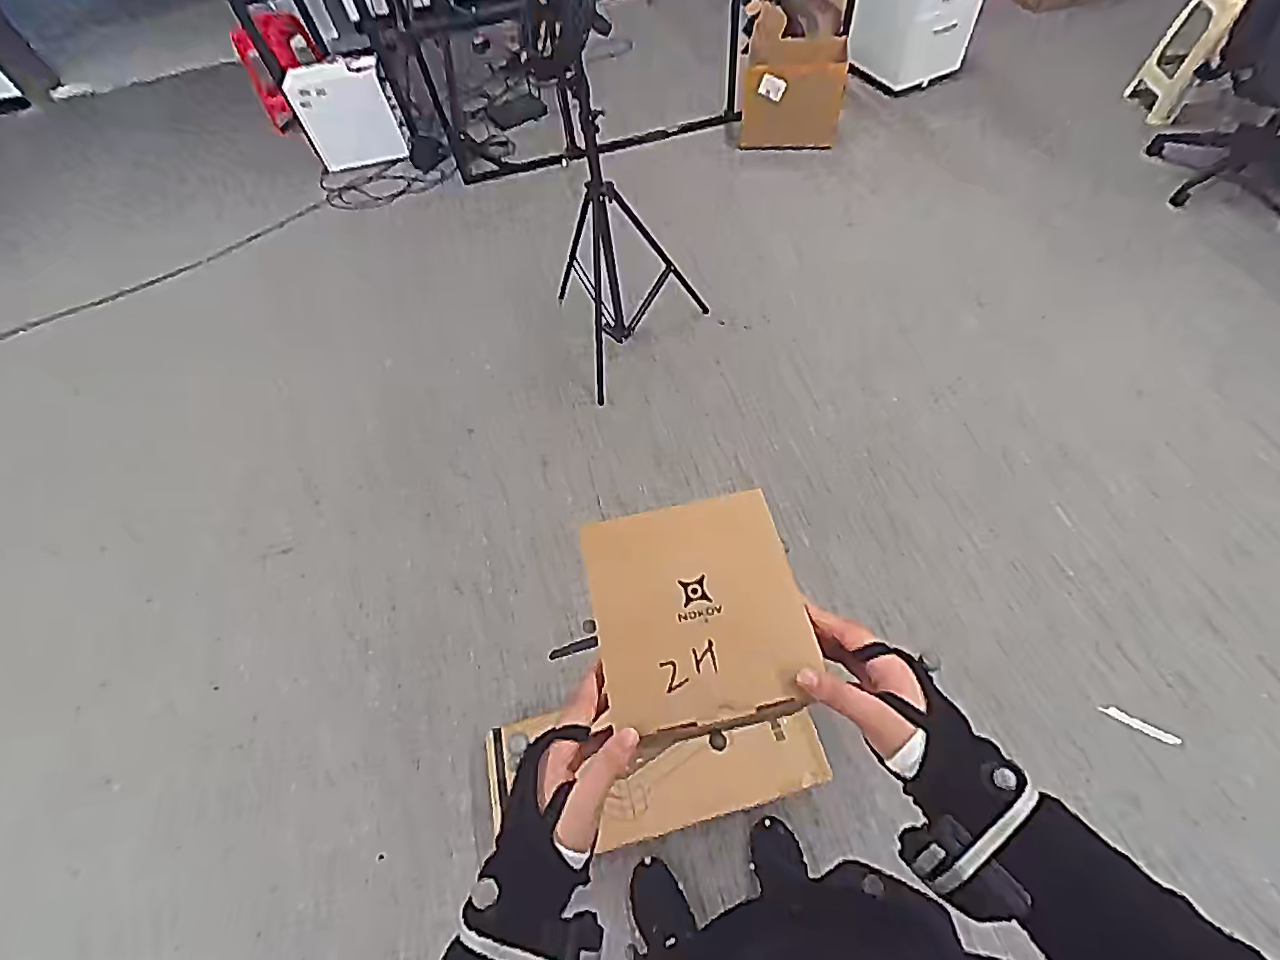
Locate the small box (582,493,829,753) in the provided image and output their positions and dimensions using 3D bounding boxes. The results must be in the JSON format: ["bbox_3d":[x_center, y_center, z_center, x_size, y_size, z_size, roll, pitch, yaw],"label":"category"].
[{"bbox_3d":[0.048,0.139,0.502,0.168,0.176,0.179,-12,60,-2],"label":"small box"}]
